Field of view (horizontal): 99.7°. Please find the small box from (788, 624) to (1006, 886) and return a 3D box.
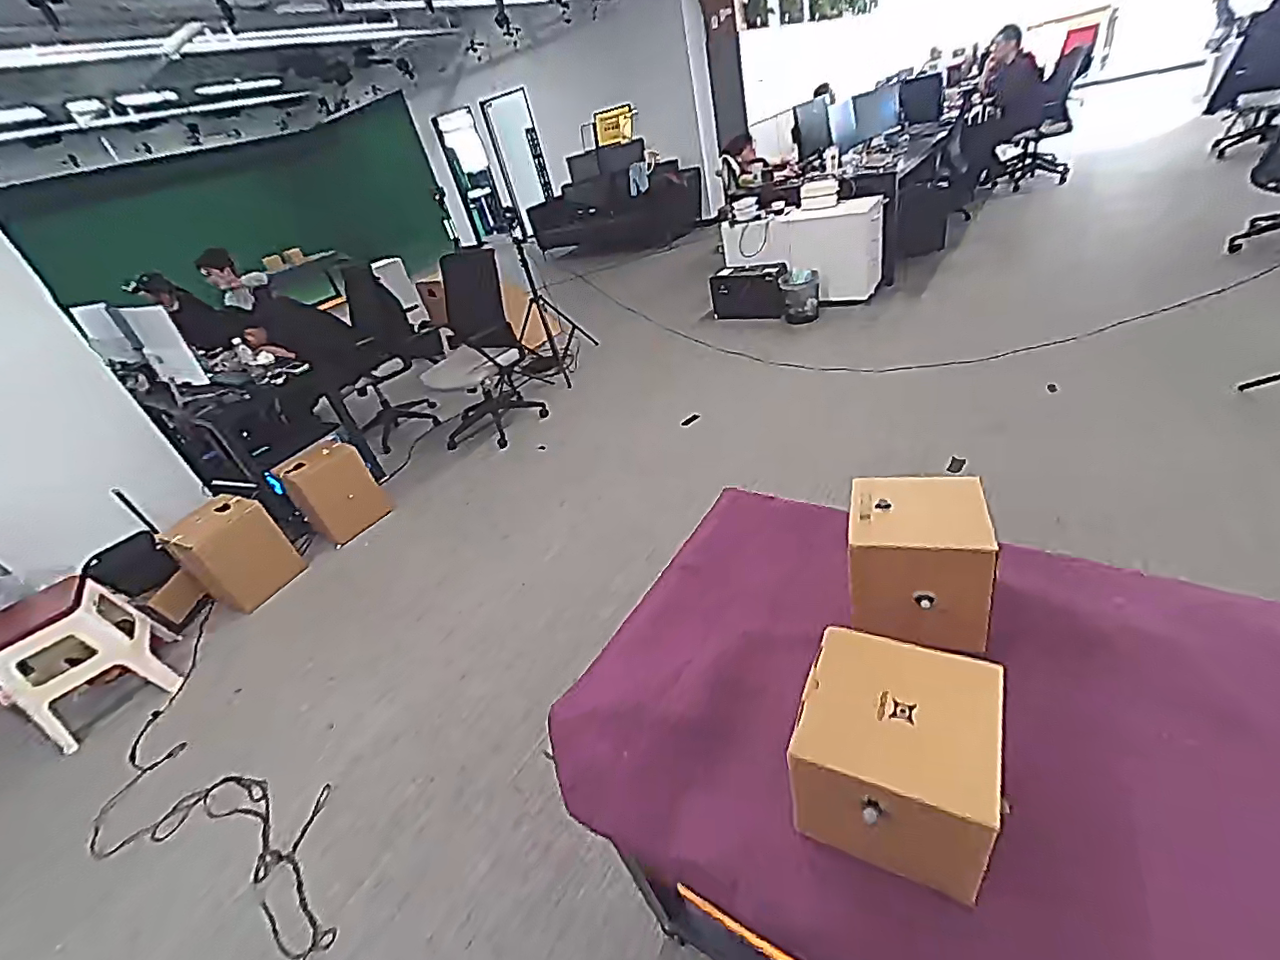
[{"bbox_3d":[0.272,0.288,0.576,0.179,0.176,0.168,7,39,31],"label":"small box"}]
